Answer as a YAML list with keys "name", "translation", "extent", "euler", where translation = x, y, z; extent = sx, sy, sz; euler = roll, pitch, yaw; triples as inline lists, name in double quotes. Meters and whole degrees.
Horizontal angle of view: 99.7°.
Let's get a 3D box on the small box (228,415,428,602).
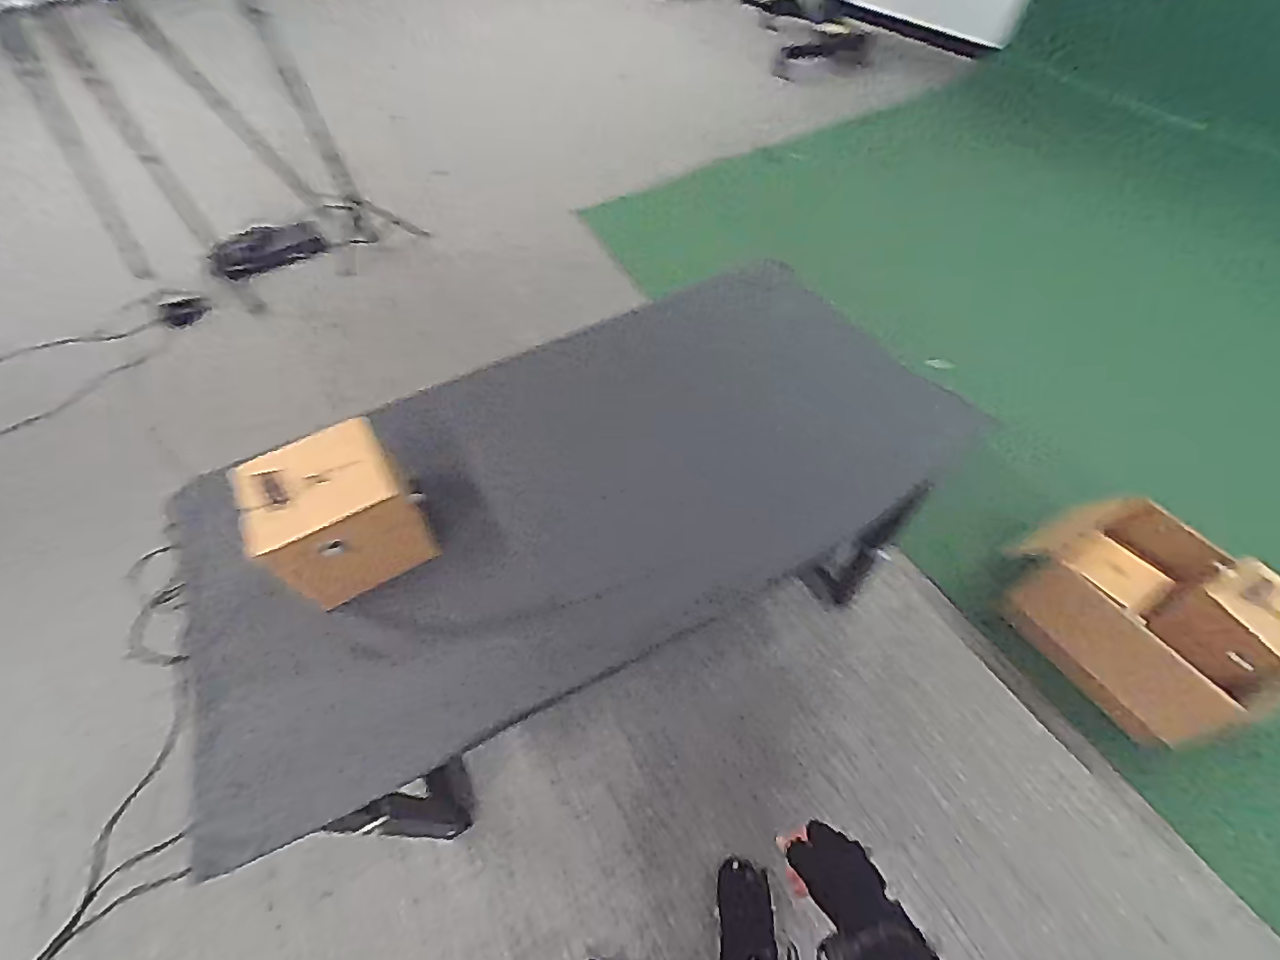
- name: "small box"
  translation: [-0.437, 0.045, 0.775]
  extent: [0.179, 0.176, 0.168]
  euler: [-28, 59, -16]
